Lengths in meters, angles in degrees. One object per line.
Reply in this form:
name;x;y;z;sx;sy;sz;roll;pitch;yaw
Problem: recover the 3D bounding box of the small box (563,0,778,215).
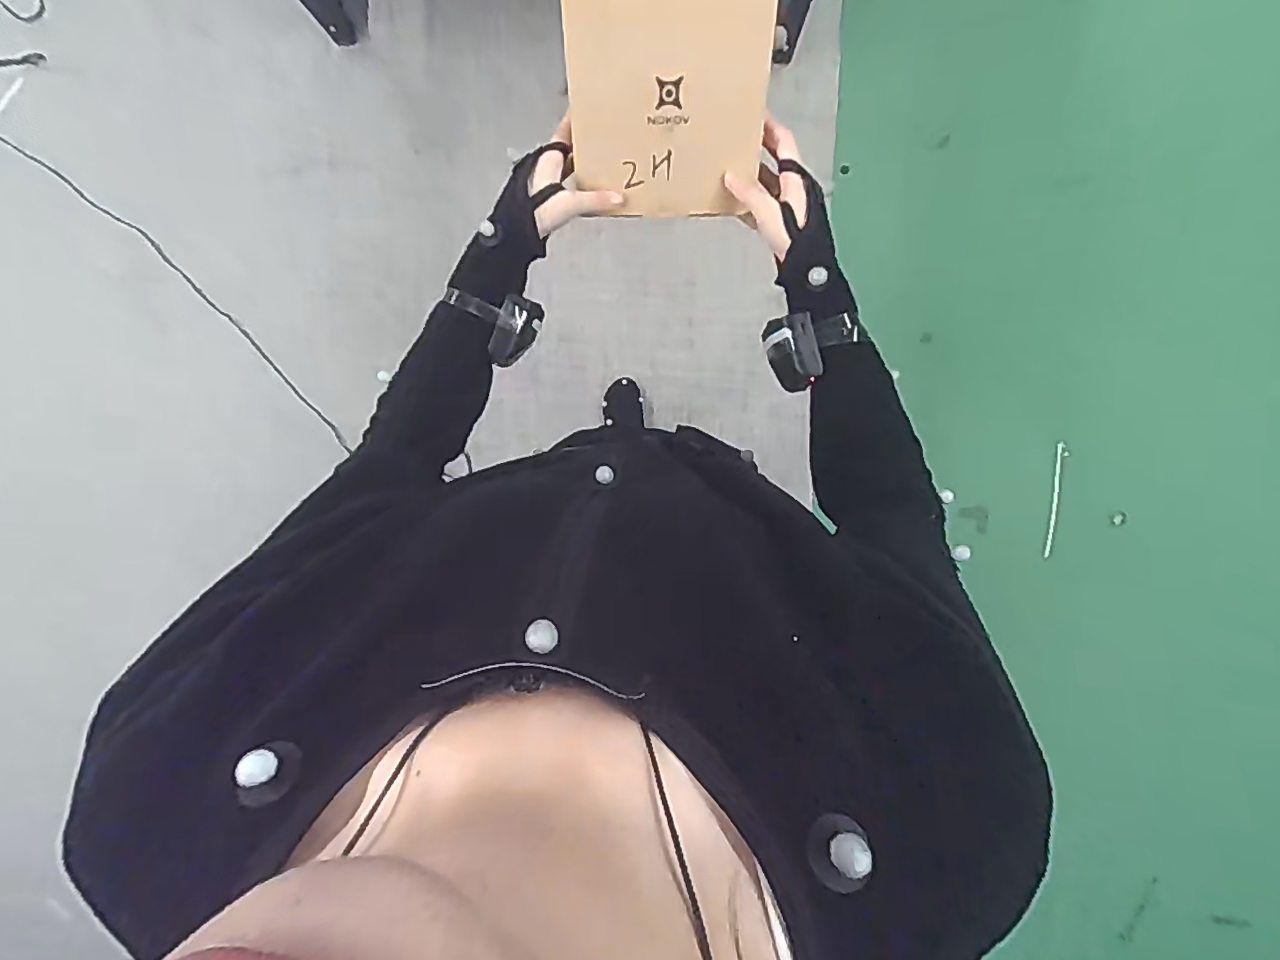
small box;0.022;-0.365;0.506;0.168;0.176;0.179;0;132;1
